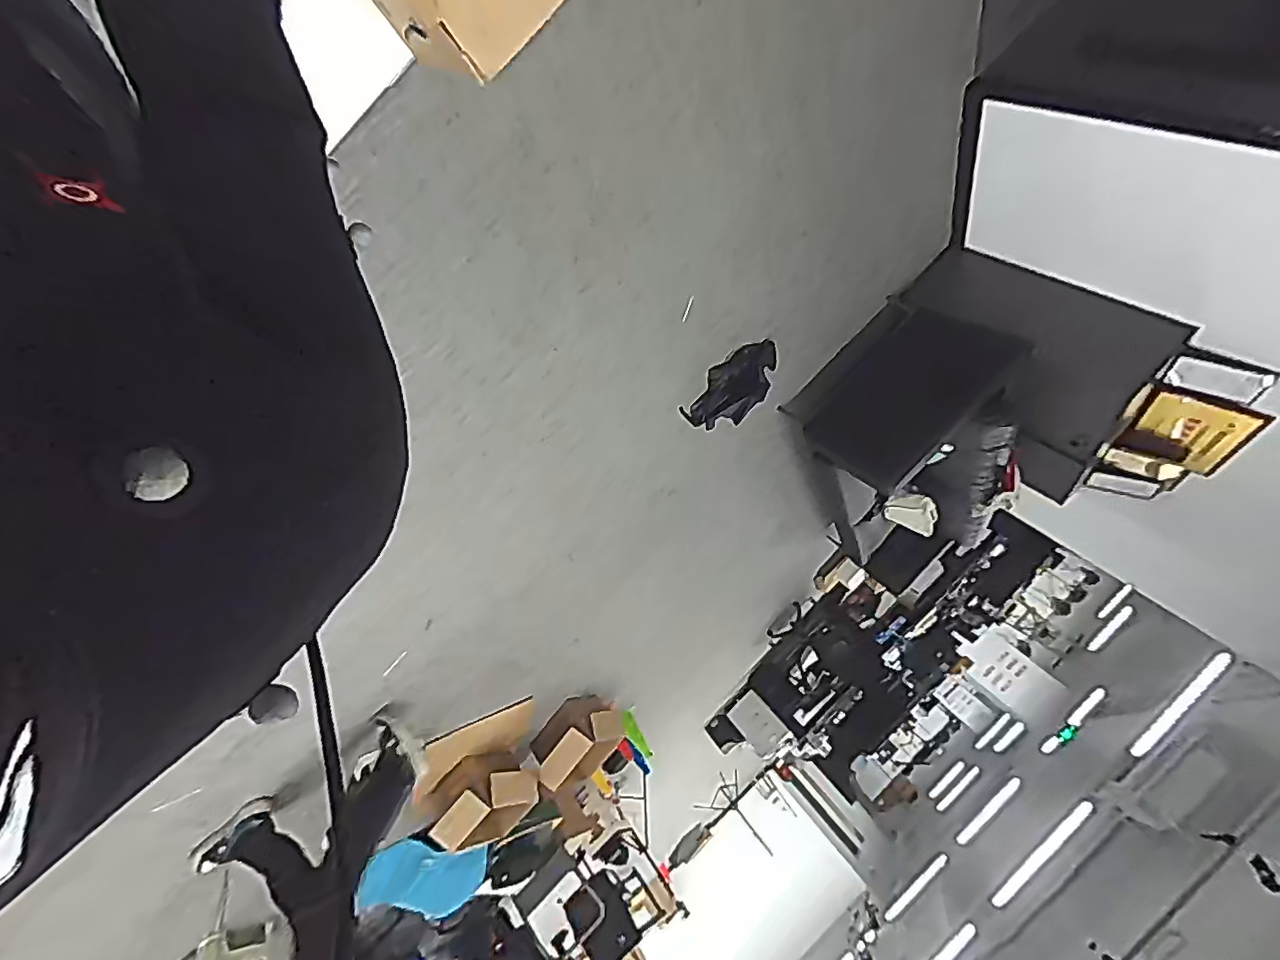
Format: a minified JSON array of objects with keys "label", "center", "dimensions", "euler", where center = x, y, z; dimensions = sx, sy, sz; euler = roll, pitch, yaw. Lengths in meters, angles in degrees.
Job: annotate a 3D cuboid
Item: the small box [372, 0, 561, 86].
[{"label":"small box","center":[-0.172,-0.500,0.476],"dimensions":[0.179,0.176,0.168],"euler":[-48,147,2]}]
